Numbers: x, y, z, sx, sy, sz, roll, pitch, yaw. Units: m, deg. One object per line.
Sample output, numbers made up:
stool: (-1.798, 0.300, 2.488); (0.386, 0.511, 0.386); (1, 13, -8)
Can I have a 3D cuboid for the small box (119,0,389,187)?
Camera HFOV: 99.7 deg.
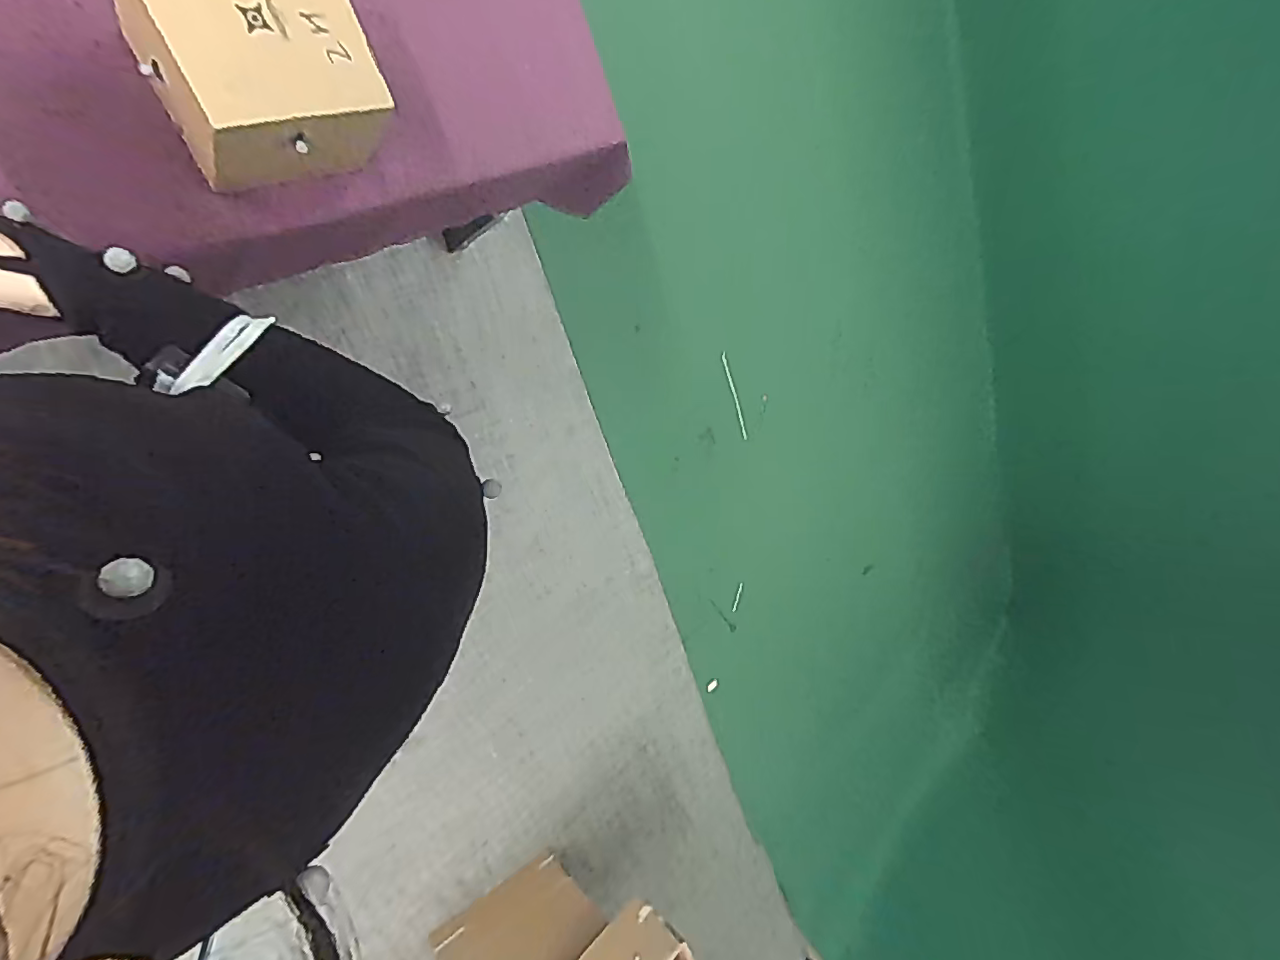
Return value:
small box: (-0.401, -0.431, 0.566); (0.179, 0.176, 0.168); (-34, 114, -31)
